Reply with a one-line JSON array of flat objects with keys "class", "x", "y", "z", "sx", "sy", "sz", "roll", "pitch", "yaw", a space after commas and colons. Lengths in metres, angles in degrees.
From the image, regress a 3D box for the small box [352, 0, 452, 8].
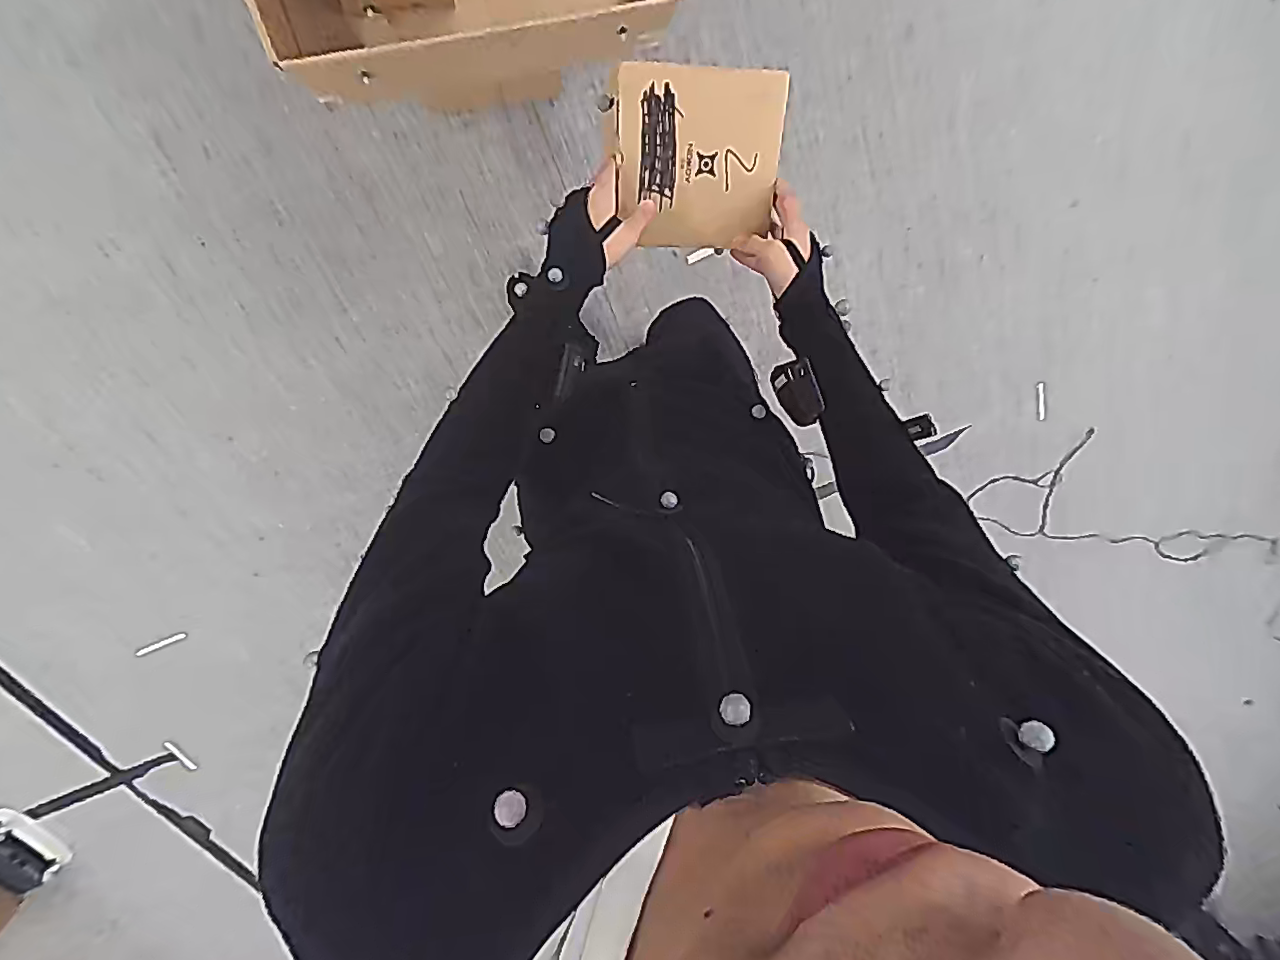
[{"class": "small box", "x": -0.371, "y": -0.804, "z": 0.761, "sx": 0.168, "sy": 0.176, "sz": 0.179, "roll": -12, "pitch": 112, "yaw": -8}]
